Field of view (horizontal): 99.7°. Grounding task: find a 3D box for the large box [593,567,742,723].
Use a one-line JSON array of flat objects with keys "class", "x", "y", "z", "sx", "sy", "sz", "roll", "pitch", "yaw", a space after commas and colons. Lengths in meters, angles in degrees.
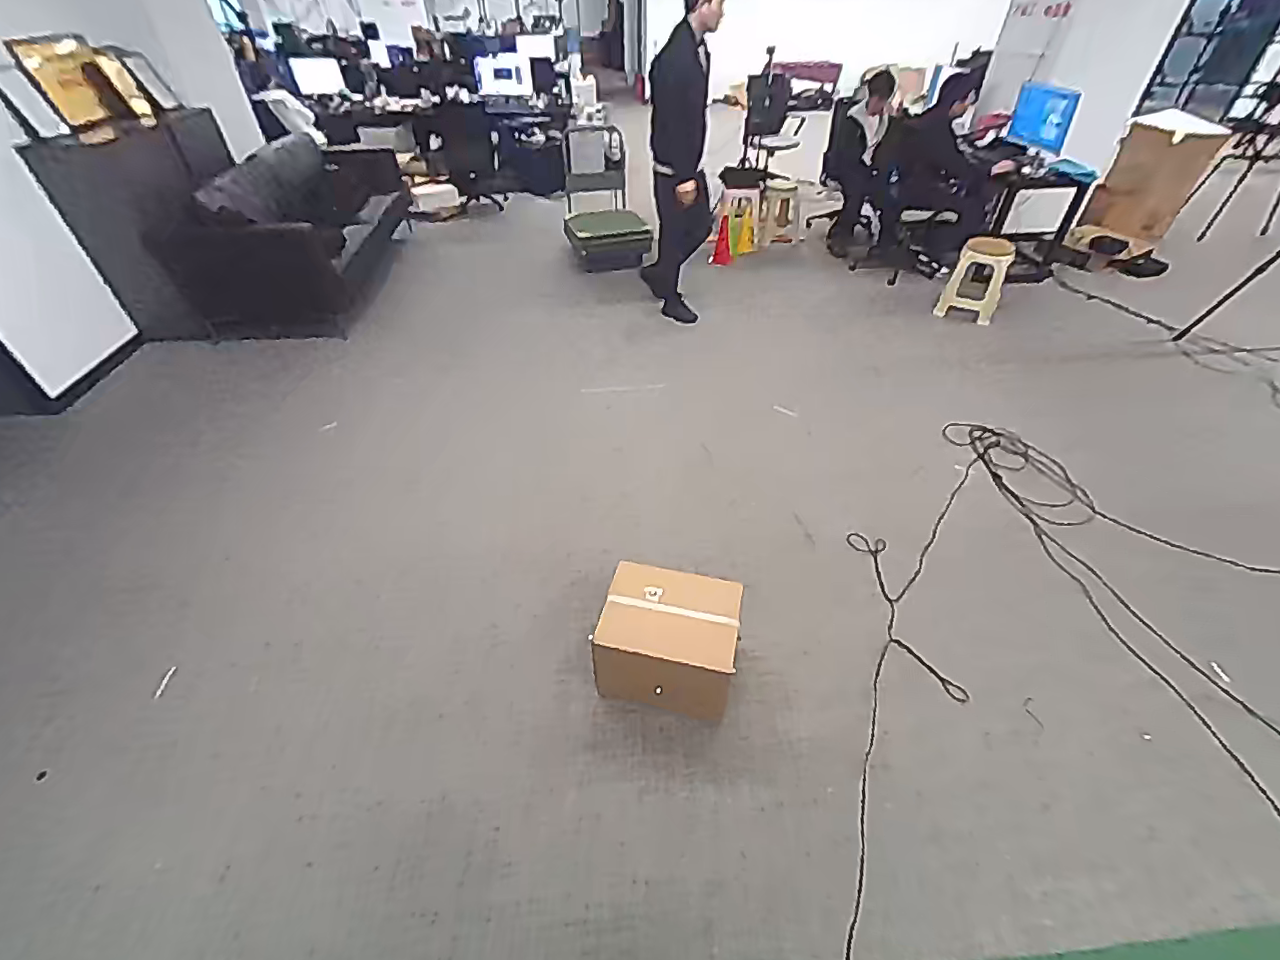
[{"class": "large box", "x": 0.099, "y": 0.518, "z": 1.707, "sx": 0.408, "sy": 0.320, "sz": 0.320, "roll": 8, "pitch": 42, "yaw": 12}]
